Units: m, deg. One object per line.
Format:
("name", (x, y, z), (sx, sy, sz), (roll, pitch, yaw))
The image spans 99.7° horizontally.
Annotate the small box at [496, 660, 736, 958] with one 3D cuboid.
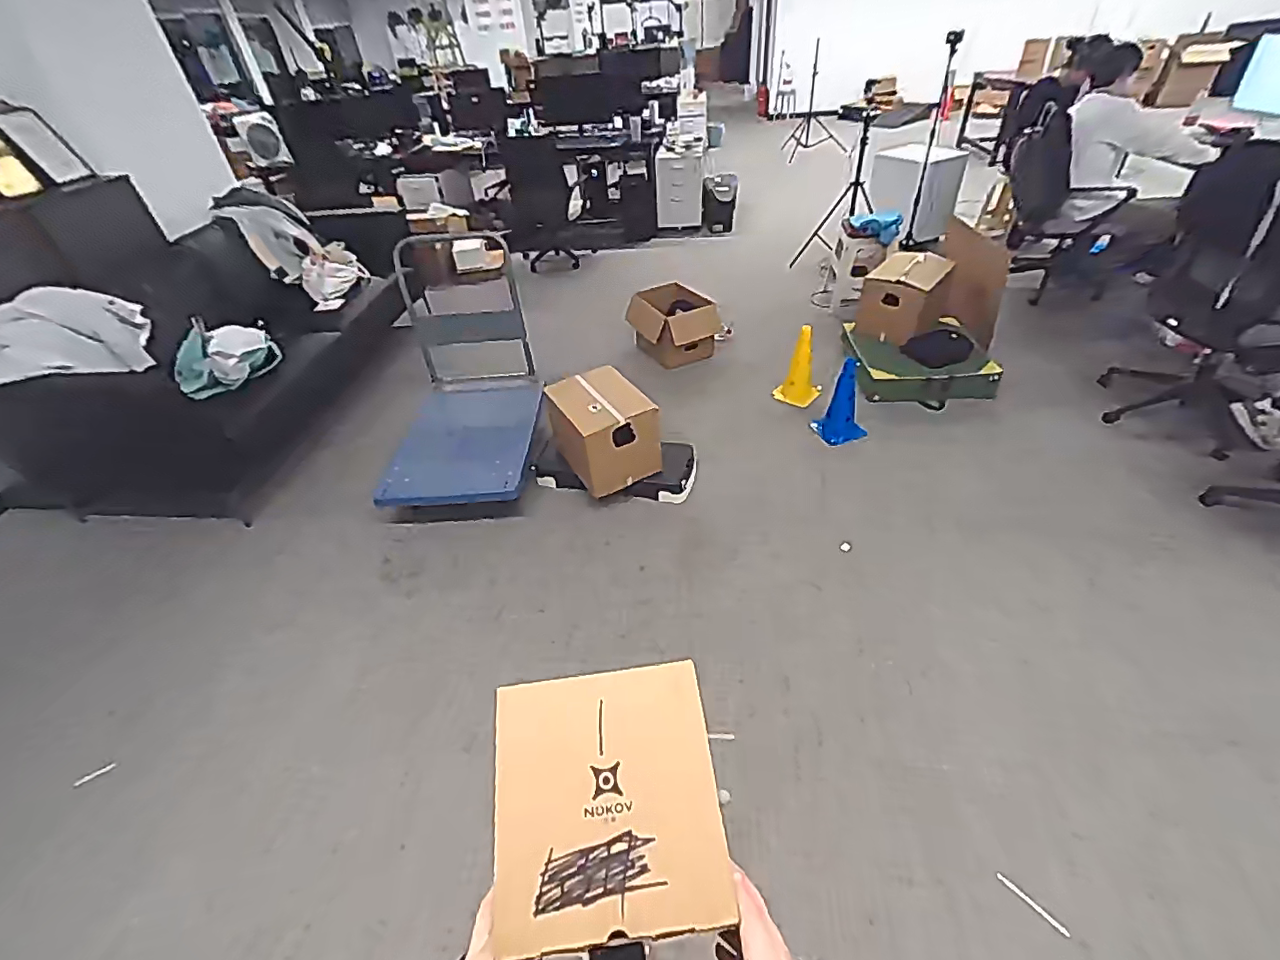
("small box", (-0.020, 0.272, 0.468), (0.168, 0.176, 0.179), (-7, 58, -2))
